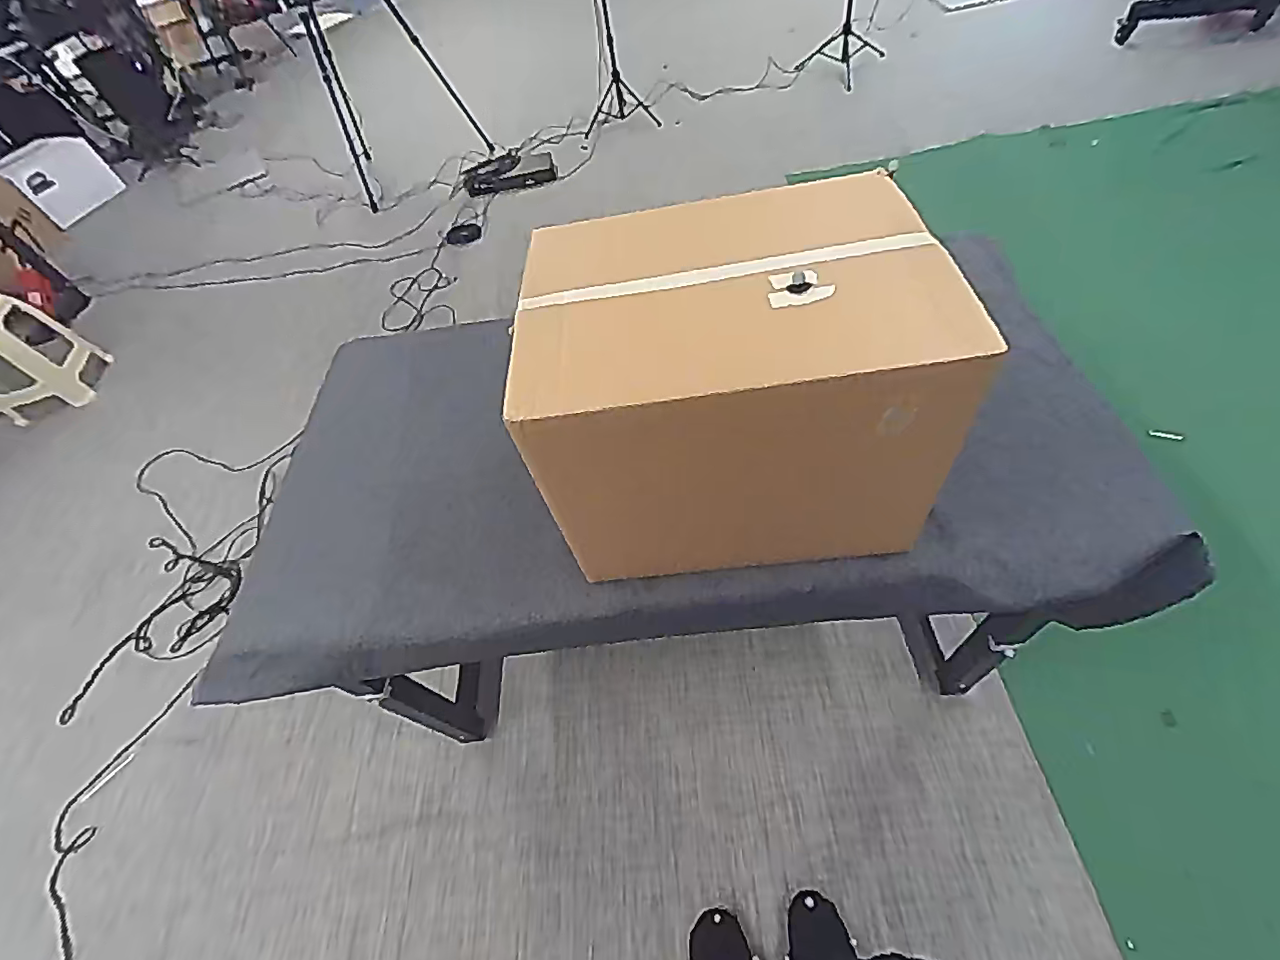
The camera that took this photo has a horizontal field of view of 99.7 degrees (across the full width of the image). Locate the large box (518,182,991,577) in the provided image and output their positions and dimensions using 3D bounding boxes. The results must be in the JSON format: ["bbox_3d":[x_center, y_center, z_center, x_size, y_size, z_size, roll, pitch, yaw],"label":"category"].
[{"bbox_3d":[0.102,-0.106,0.656,0.408,0.320,0.320,-7,52,5],"label":"large box"}]
